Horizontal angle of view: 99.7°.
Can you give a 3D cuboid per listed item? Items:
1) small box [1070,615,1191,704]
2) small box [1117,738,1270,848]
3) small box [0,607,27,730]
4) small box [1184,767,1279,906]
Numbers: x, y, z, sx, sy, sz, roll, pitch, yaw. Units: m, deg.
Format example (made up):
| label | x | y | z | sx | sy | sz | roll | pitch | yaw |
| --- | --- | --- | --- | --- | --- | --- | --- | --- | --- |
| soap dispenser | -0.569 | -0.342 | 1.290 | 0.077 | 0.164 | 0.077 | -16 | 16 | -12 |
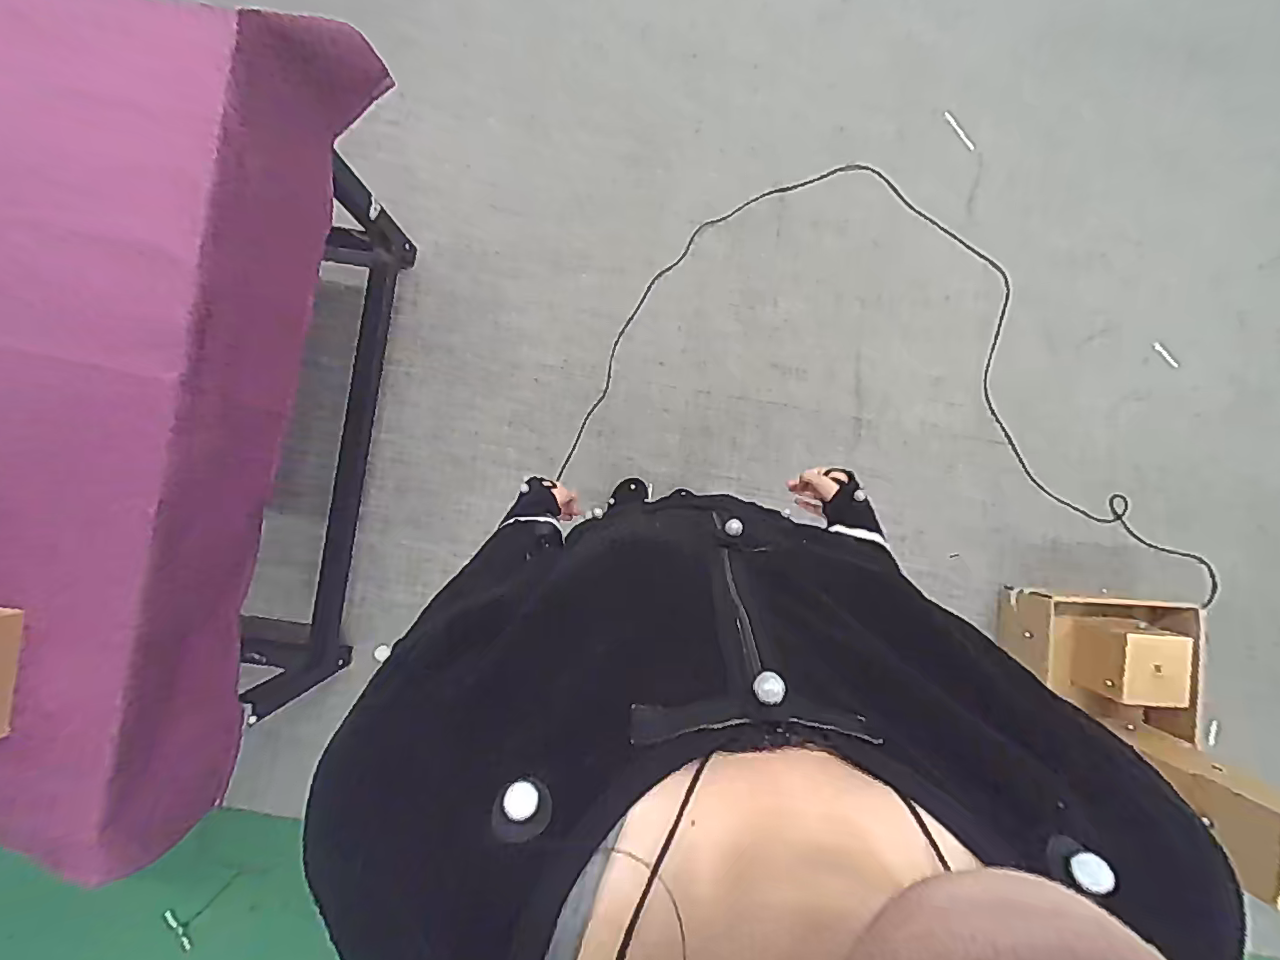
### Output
| label | x | y | z | sx | sy | sz | roll | pitch | yaw |
| --- | --- | --- | --- | --- | --- | --- | --- | --- | --- |
| small box | 1.265 | 0.459 | 1.406 | 0.168 | 0.176 | 0.179 | 4 | 90 | 0 |
| small box | 1.259 | 0.714 | 1.239 | 0.179 | 0.176 | 0.168 | 5 | 89 | -1 |
| small box | -0.951 | 0.253 | 0.682 | 0.168 | 0.176 | 0.179 | 7 | 89 | -1 |
| small box | 1.248 | 0.709 | 1.073 | 0.168 | 0.176 | 0.179 | 9 | 89 | -1 |
